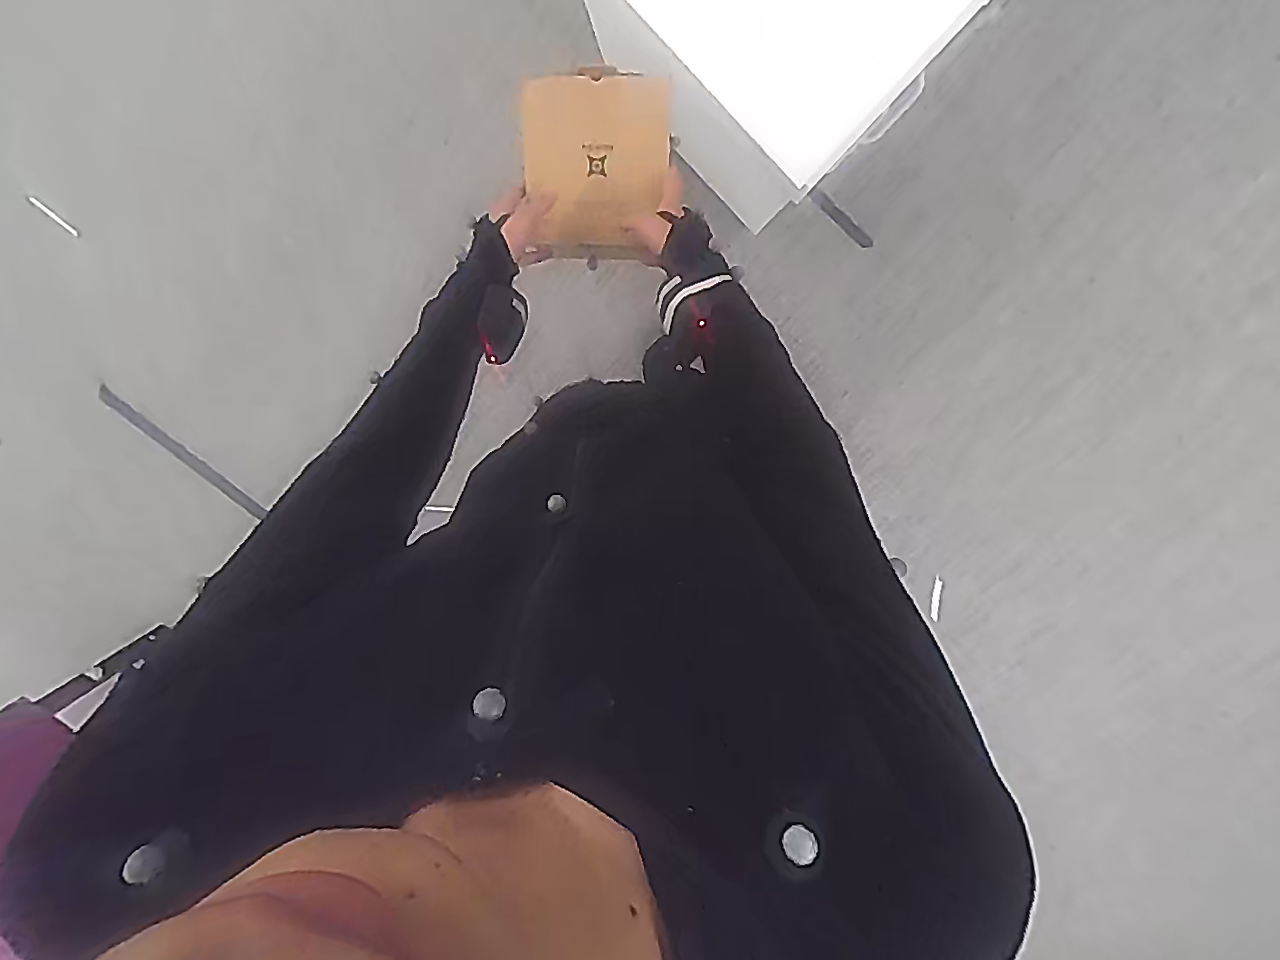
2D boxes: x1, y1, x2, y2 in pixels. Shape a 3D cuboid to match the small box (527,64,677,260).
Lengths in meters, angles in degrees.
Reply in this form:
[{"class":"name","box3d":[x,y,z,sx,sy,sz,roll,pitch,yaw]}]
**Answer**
[{"class":"small box","box3d":[-0.044,-0.383,0.681,0.168,0.176,0.179,1,107,0]}]
